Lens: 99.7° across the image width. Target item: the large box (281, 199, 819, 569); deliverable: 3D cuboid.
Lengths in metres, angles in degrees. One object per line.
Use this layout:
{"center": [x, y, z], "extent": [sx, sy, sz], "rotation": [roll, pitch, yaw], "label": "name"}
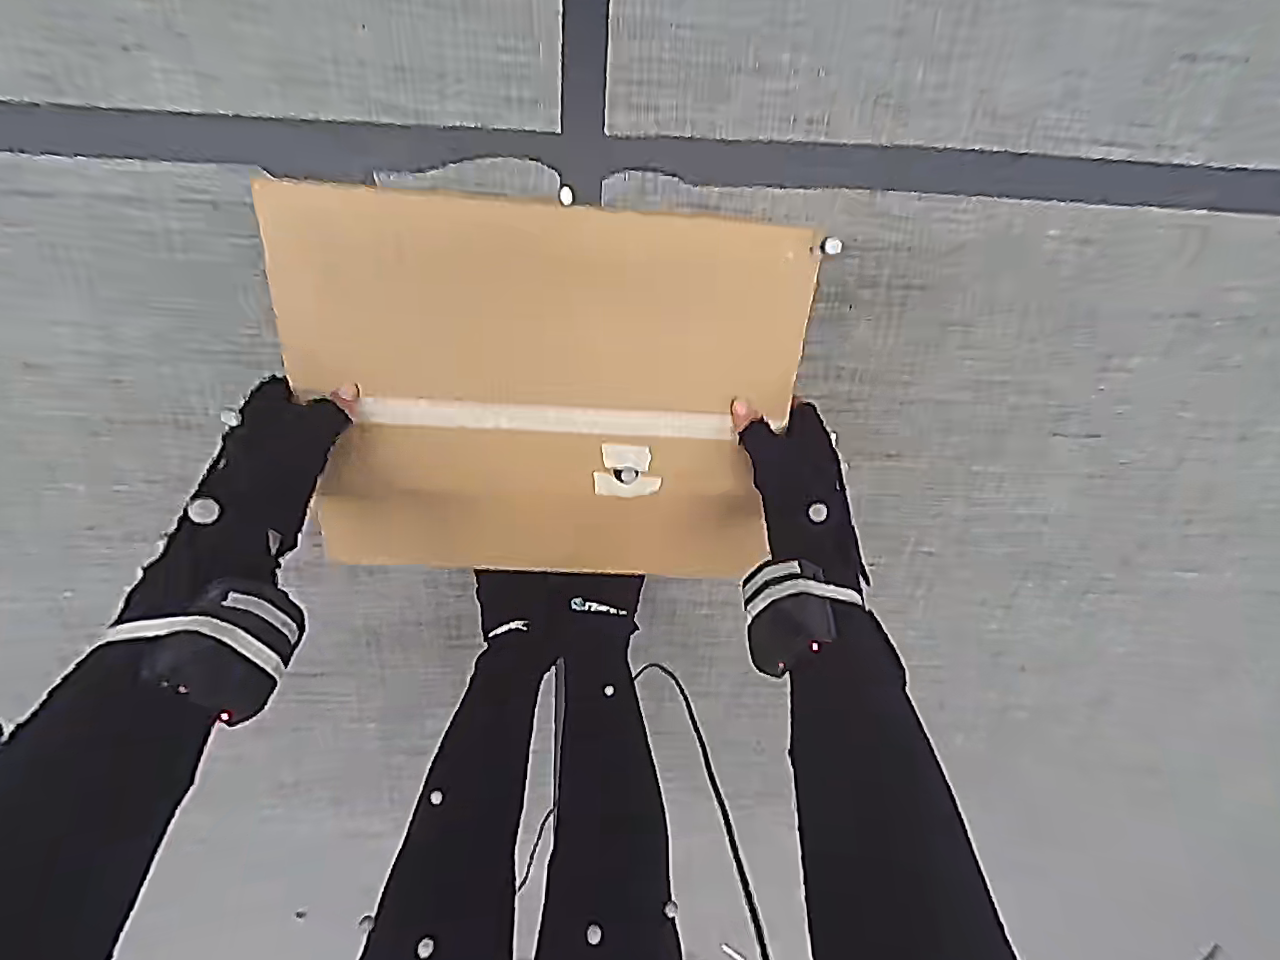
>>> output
{"center": [-0.079, -0.116, 0.595], "extent": [0.408, 0.320, 0.320], "rotation": [2, 116, -5], "label": "large box"}
